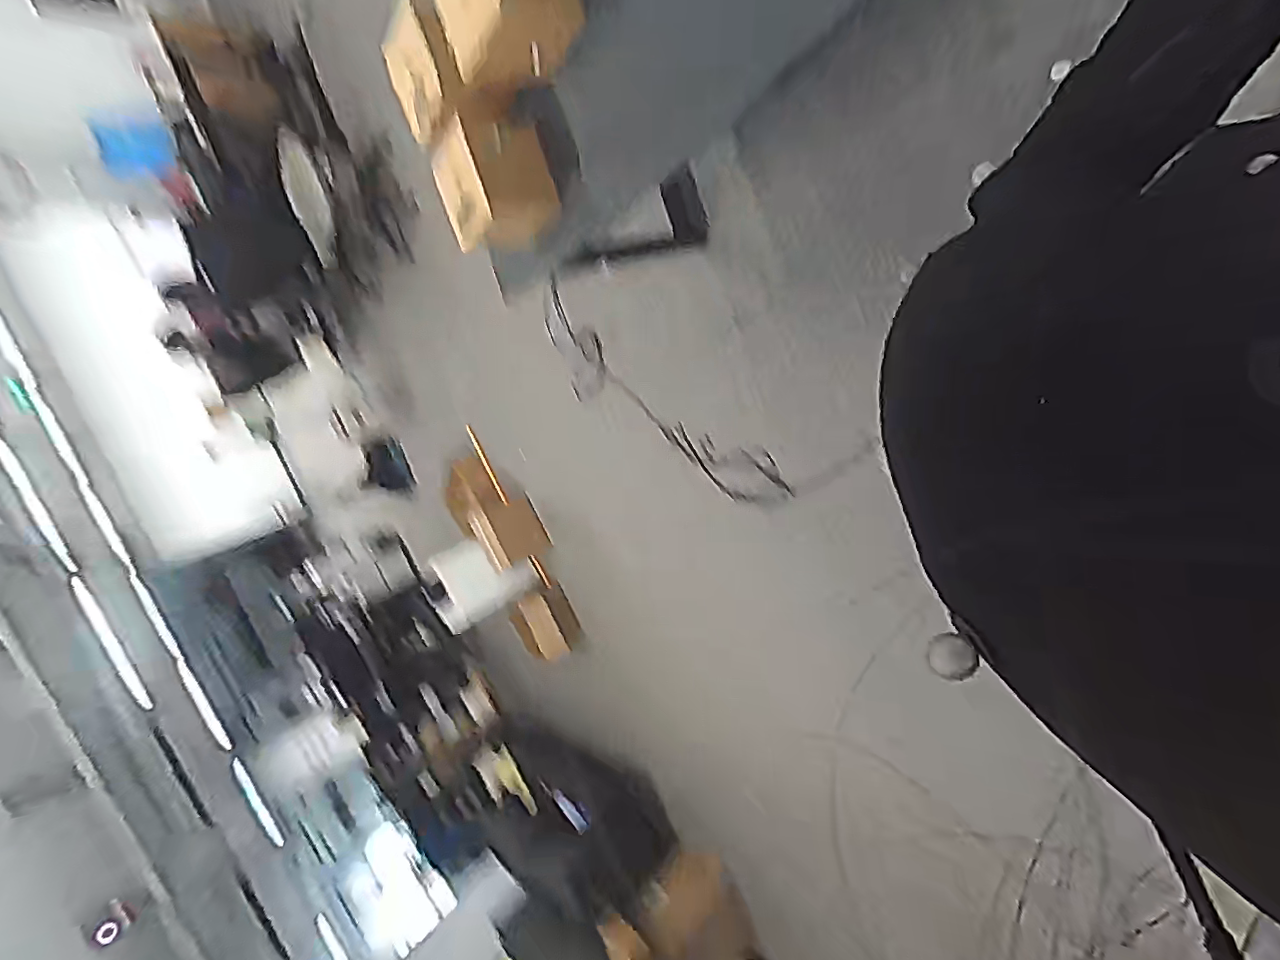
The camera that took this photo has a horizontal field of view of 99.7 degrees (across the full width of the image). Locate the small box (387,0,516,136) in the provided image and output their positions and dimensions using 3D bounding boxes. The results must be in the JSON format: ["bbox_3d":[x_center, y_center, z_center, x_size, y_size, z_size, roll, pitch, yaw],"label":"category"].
[{"bbox_3d":[-0.375,-0.829,1.088,0.168,0.176,0.179,-11,102,52],"label":"small box"}]

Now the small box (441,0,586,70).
[{"bbox_3d":[-0.220,-0.830,0.904,0.168,0.176,0.179,-7,107,52],"label":"small box"}]
